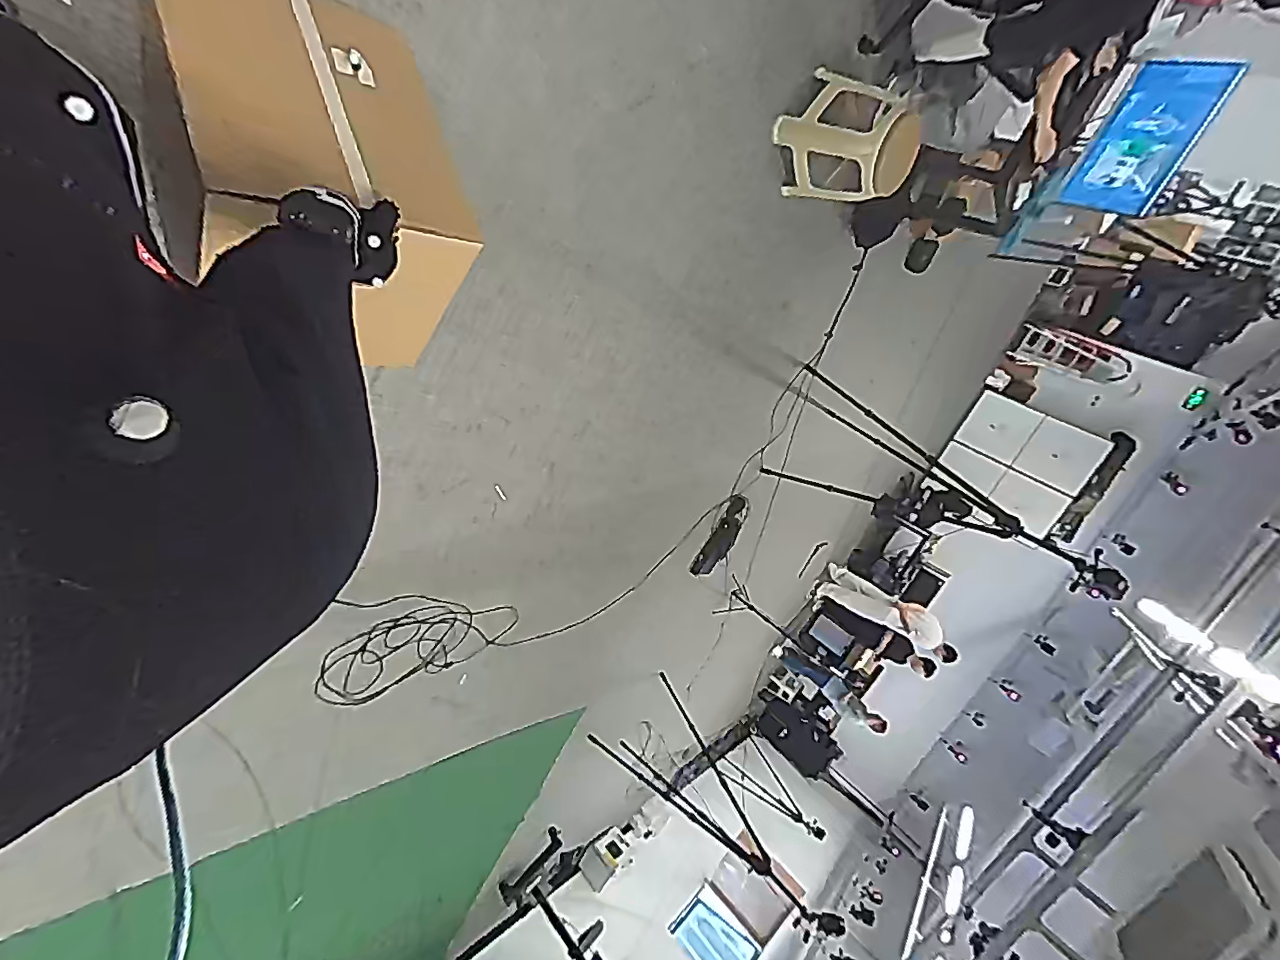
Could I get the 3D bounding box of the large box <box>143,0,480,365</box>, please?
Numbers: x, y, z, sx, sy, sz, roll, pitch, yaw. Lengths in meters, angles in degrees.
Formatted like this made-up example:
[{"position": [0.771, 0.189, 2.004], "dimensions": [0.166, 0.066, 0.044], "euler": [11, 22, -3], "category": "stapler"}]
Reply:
[{"position": [-0.496, -0.421, 0.805], "dimensions": [0.320, 0.408, 0.320], "euler": [-10, 163, -45], "category": "large box"}]
